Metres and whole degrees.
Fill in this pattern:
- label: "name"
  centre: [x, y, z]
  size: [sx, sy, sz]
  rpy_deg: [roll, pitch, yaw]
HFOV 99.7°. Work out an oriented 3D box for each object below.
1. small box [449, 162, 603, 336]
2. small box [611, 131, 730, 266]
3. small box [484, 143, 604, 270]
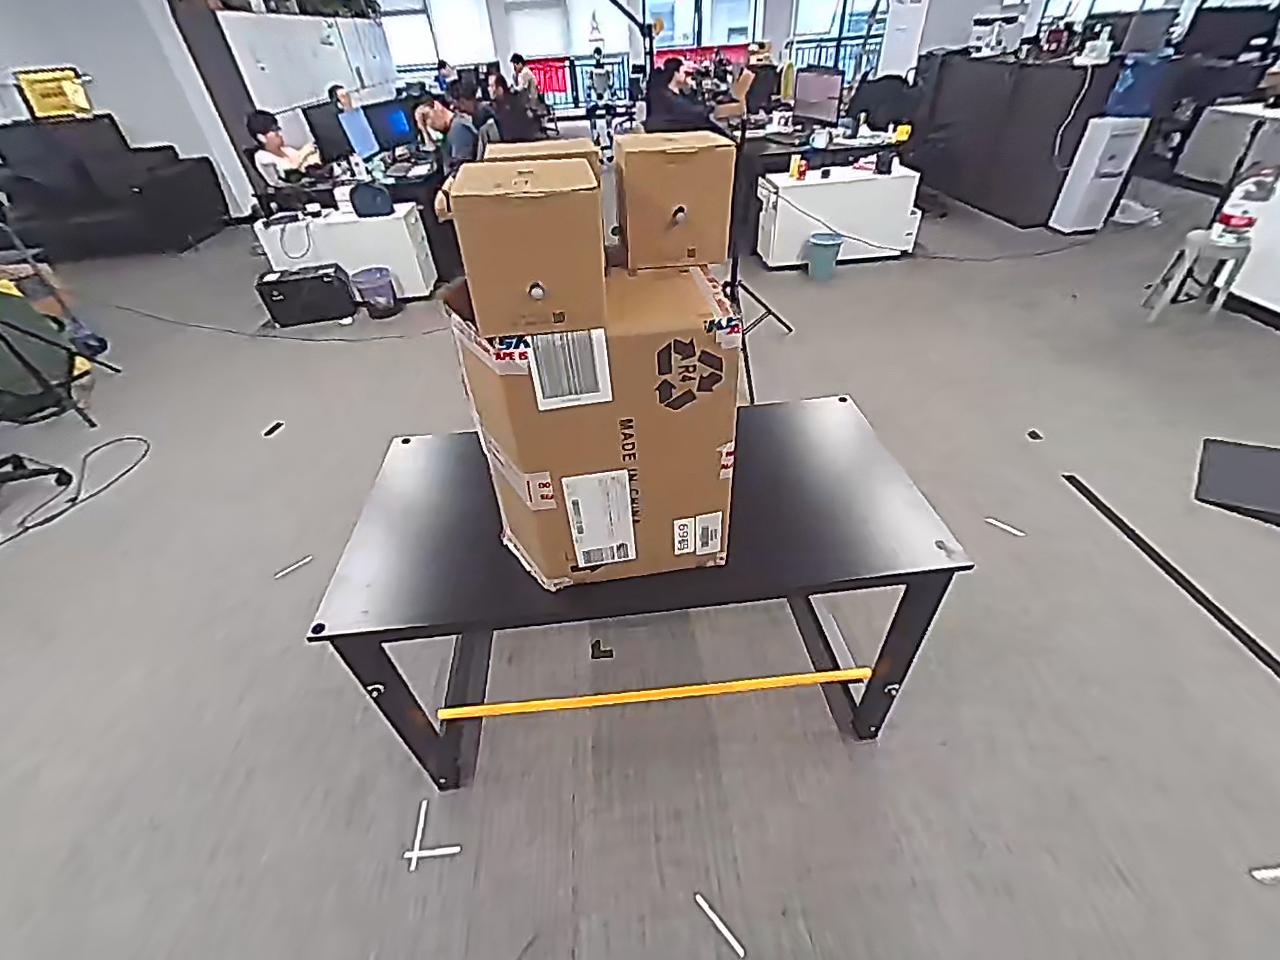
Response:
- label: "small box"
  centre: [-0.141, -0.307, 0.716]
  size: [0.168, 0.176, 0.179]
  rpy_deg: [-7, 41, -6]
- label: "small box"
  centre: [0.045, -0.462, 0.894]
  size: [0.168, 0.176, 0.179]
  rpy_deg: [-5, 40, -5]
- label: "small box"
  centre: [-0.154, -0.445, 0.890]
  size: [0.168, 0.176, 0.179]
  rpy_deg: [-9, 39, -7]
